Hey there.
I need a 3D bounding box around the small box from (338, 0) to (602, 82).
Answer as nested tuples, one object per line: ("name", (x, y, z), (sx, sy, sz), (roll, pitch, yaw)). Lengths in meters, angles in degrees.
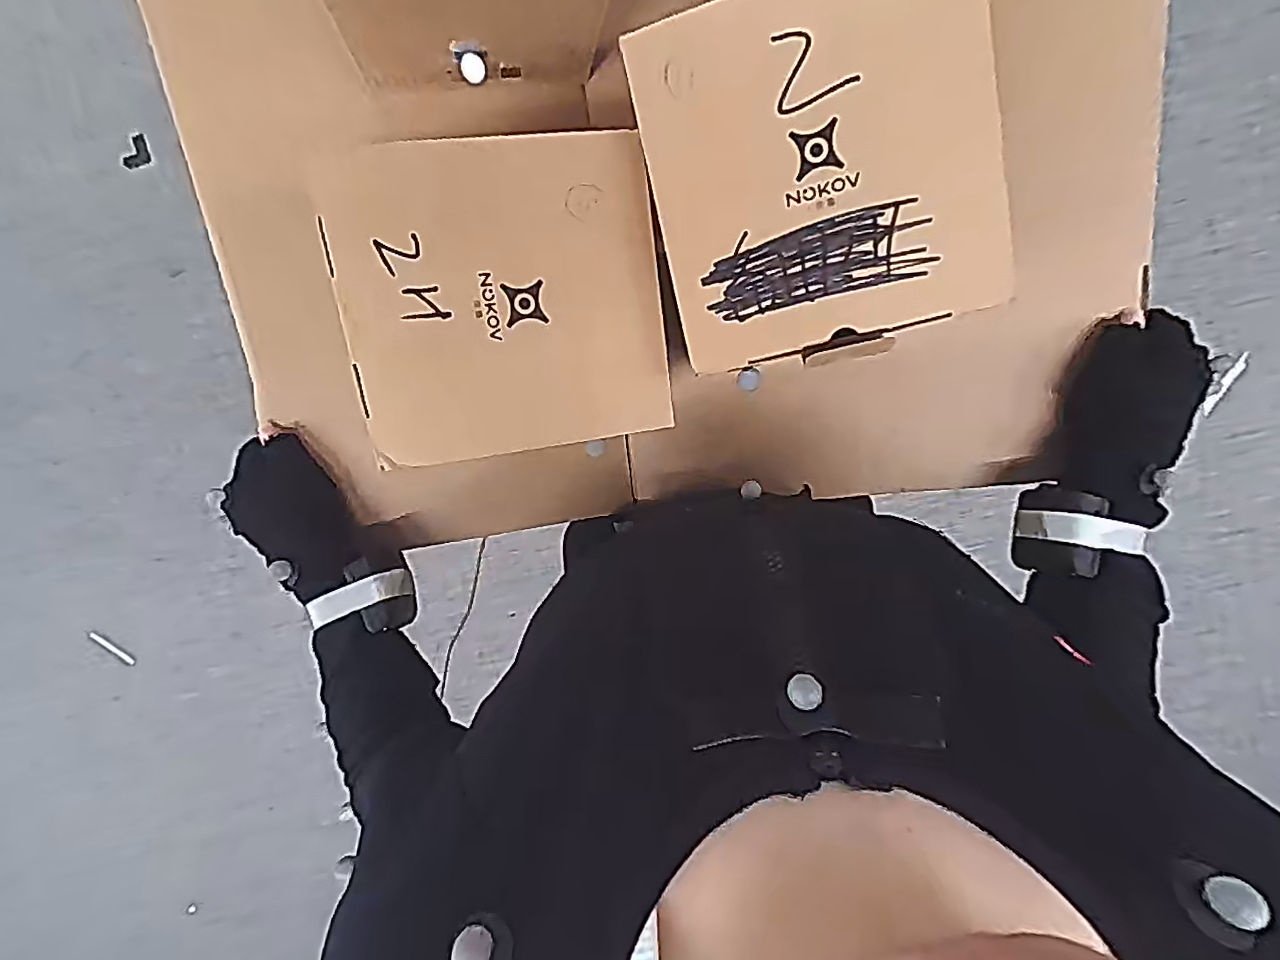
("small box", (-0.114, -0.374, 0.317), (0.168, 0.176, 0.179), (-10, 105, -10))
